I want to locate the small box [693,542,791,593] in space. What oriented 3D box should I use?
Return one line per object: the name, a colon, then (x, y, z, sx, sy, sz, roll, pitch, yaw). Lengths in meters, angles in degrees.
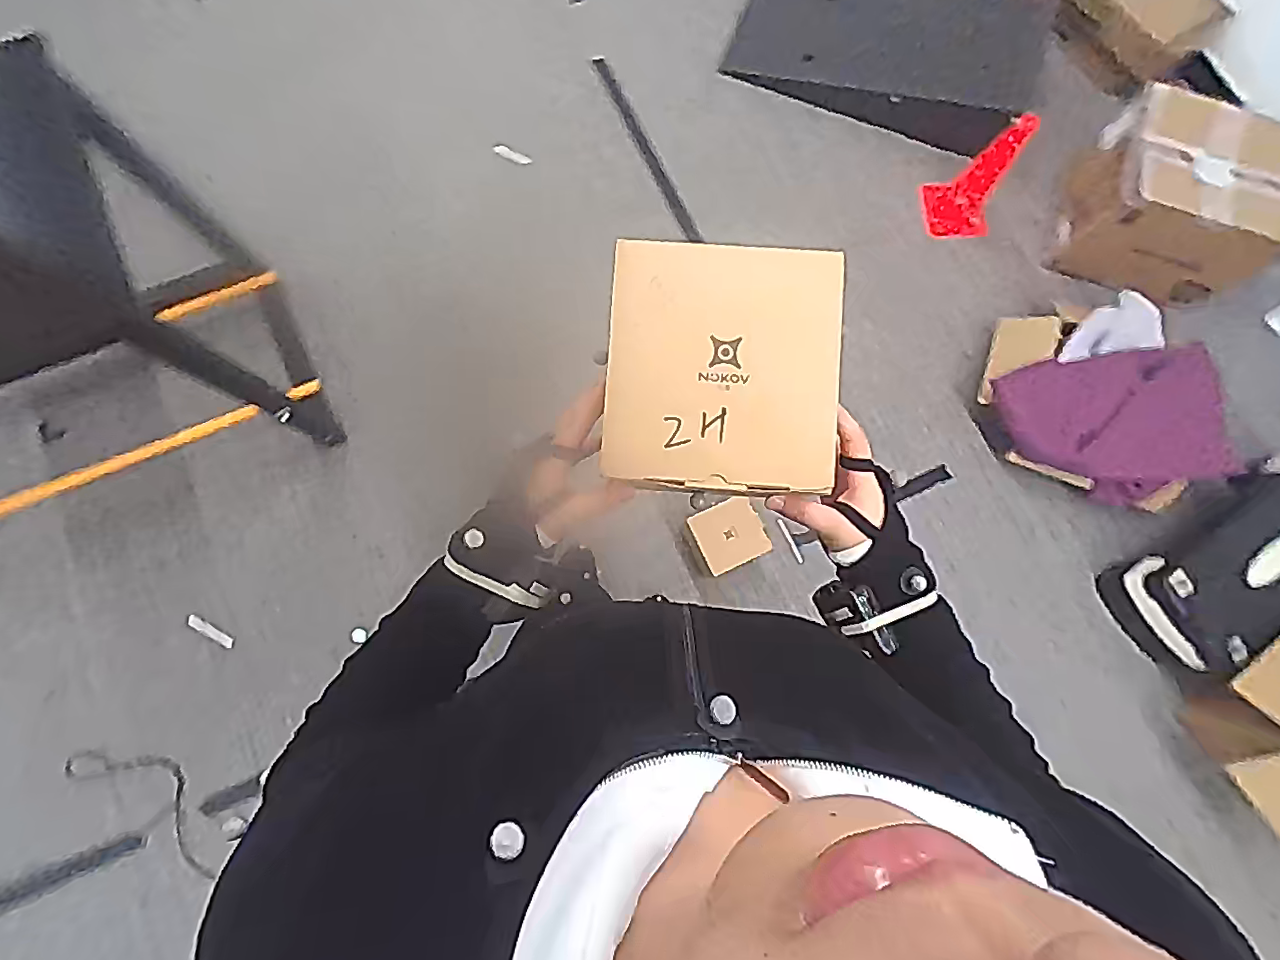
small box: (0.254, 0.178, 1.387, 0.179, 0.176, 0.168, -25, 80, -6)
